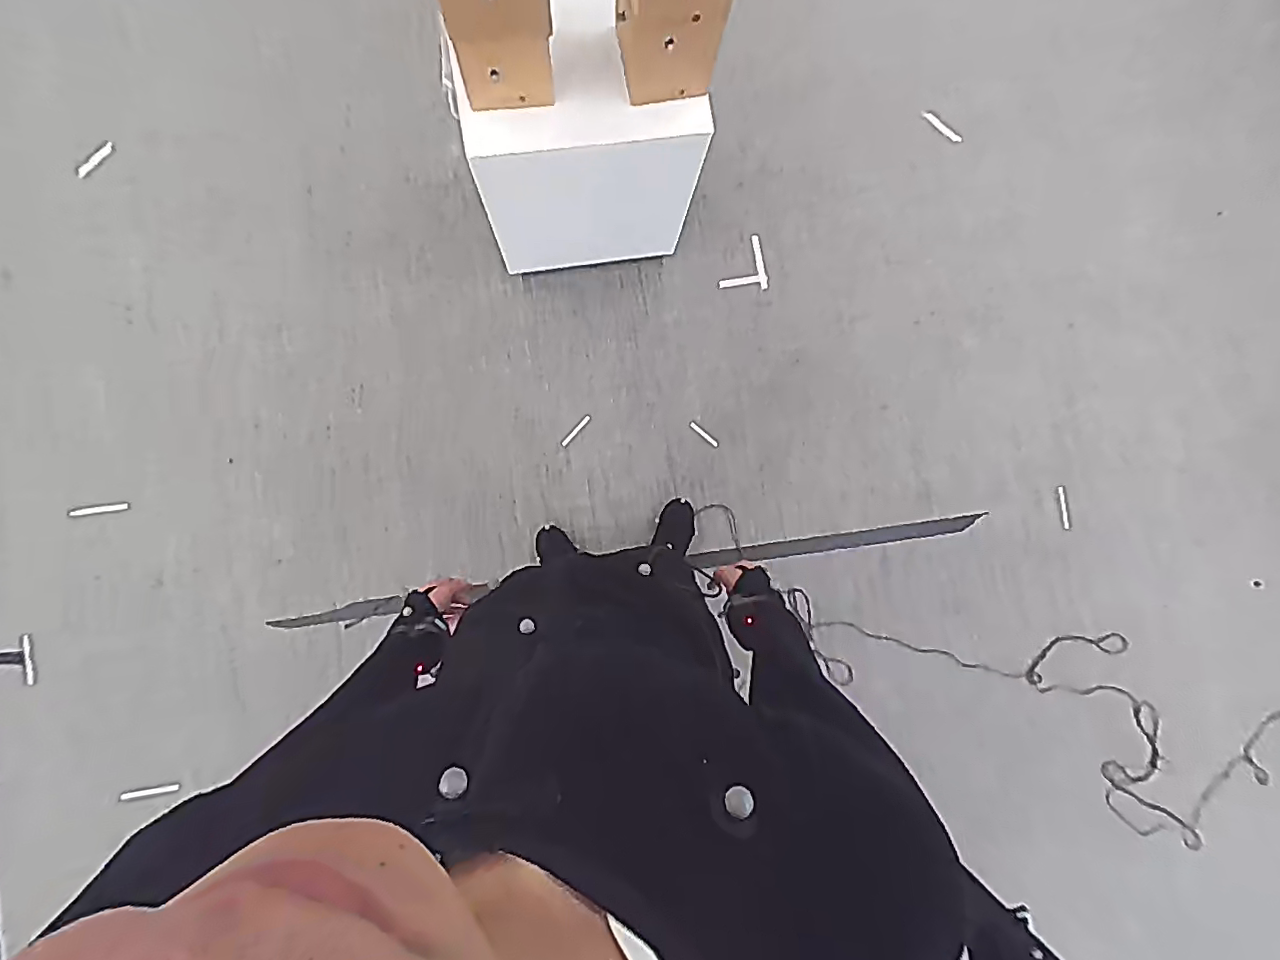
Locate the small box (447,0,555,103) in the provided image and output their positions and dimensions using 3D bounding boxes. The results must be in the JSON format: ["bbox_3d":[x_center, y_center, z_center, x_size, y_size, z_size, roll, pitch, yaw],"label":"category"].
[{"bbox_3d":[-0.252,-0.828,0.993,0.168,0.176,0.179,-8,88,-6],"label":"small box"}]

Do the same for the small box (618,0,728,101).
[{"bbox_3d":[0.053,-0.864,1.018,0.168,0.176,0.179,-11,89,-4],"label":"small box"}]

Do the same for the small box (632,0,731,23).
[{"bbox_3d":[0.066,-0.870,0.853,0.168,0.176,0.179,-10,89,-5],"label":"small box"}]
